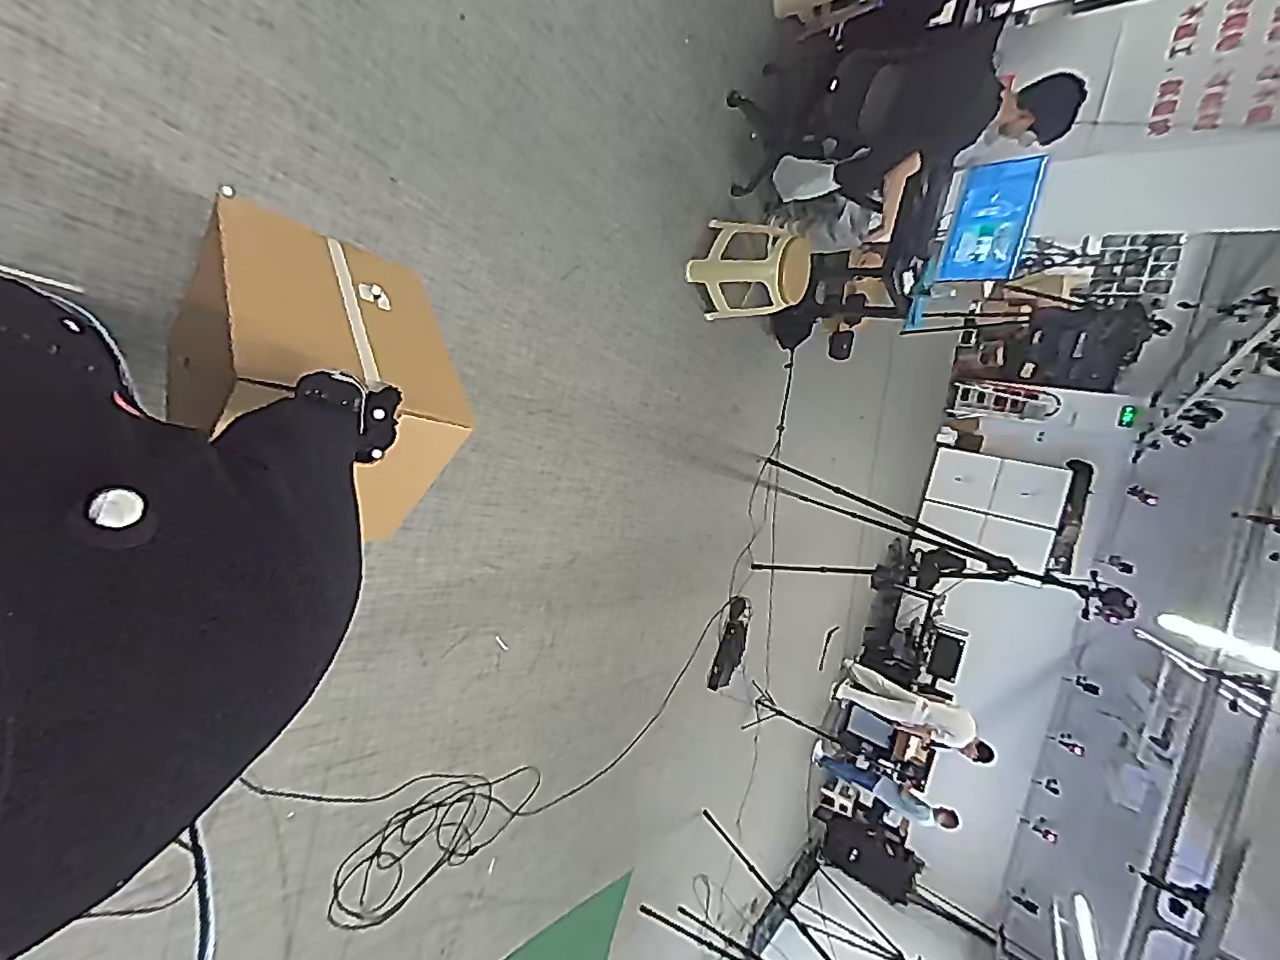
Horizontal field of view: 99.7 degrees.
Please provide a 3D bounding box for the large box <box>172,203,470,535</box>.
[{"bbox_3d":[-0.544,-0.155,0.901,0.320,0.408,0.320,-44,148,26],"label":"large box"}]
